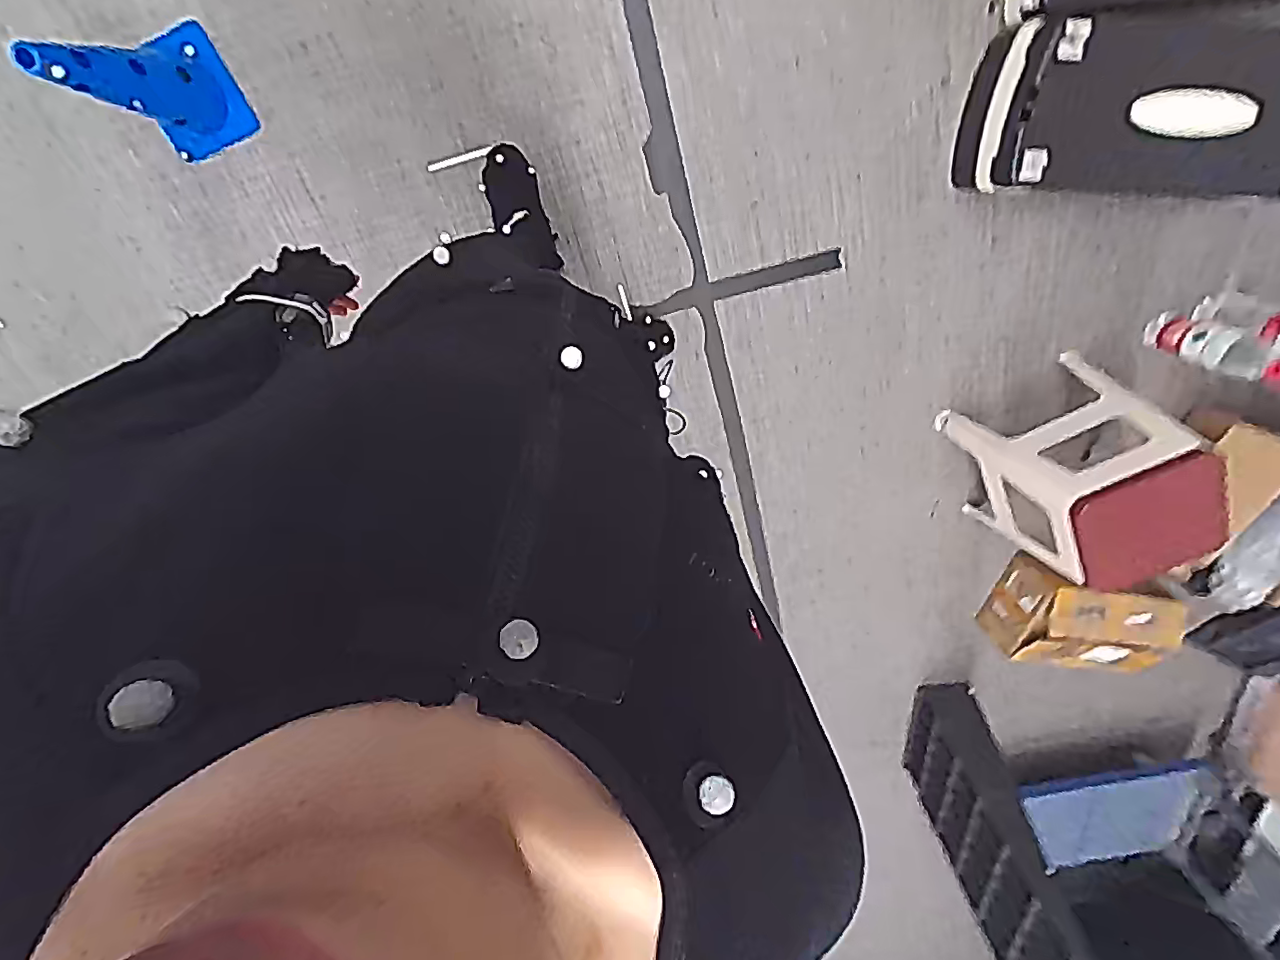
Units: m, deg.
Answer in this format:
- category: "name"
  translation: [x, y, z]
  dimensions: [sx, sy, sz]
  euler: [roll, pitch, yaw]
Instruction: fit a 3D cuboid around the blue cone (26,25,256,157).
- category: "blue cone"
  translation: [-0.910, -0.717, 0.964]
  dimensions: [0.193, 0.380, 0.192]
  euler: [-18, 118, 8]
